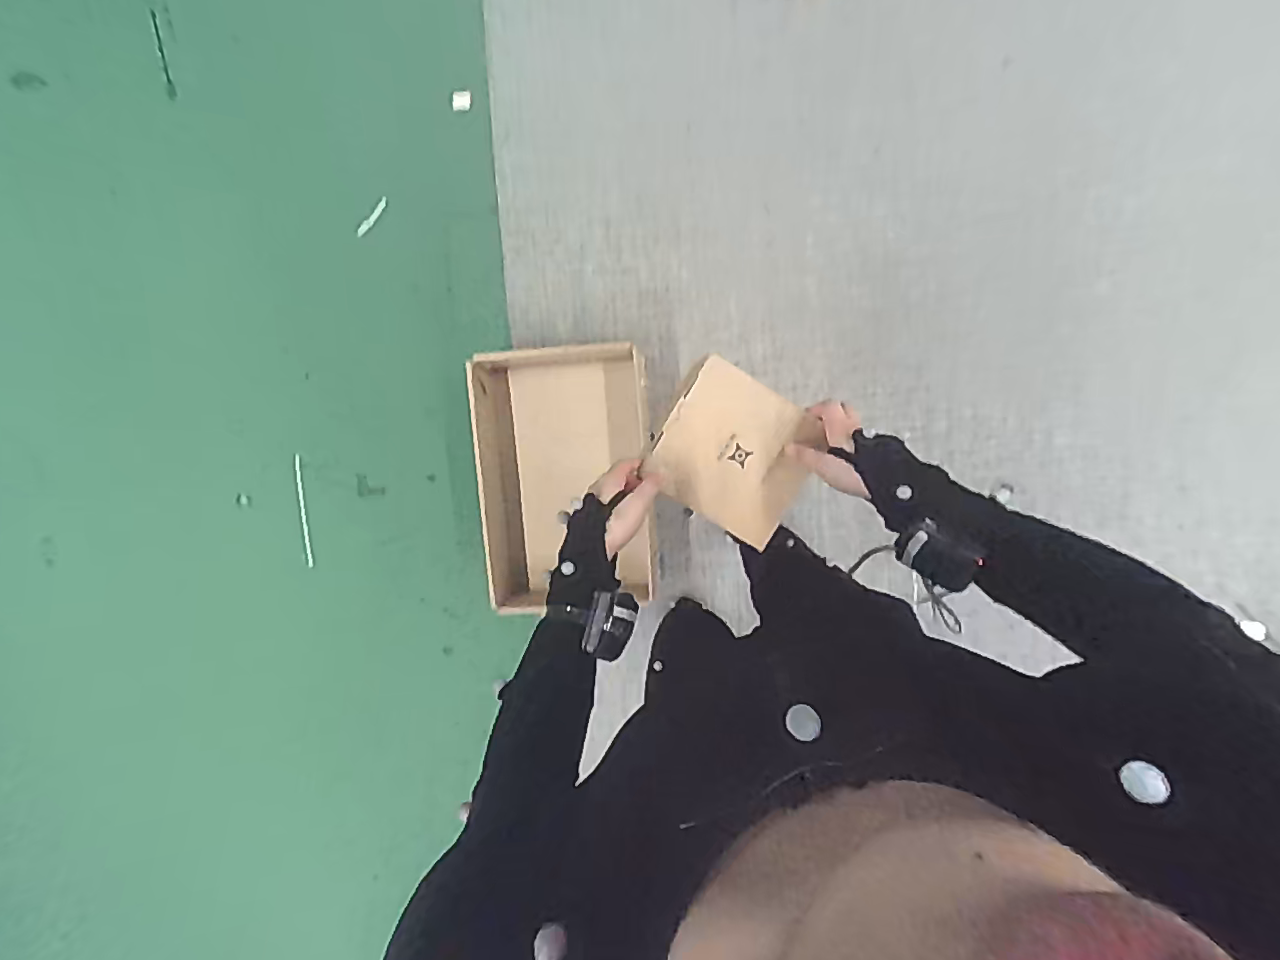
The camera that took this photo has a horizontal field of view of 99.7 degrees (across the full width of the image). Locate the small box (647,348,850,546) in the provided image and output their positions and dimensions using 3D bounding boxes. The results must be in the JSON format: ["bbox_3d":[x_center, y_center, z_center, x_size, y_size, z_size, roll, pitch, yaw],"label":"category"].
[{"bbox_3d":[0.121,-0.043,0.688,0.179,0.176,0.168,31,97,-4],"label":"small box"}]
